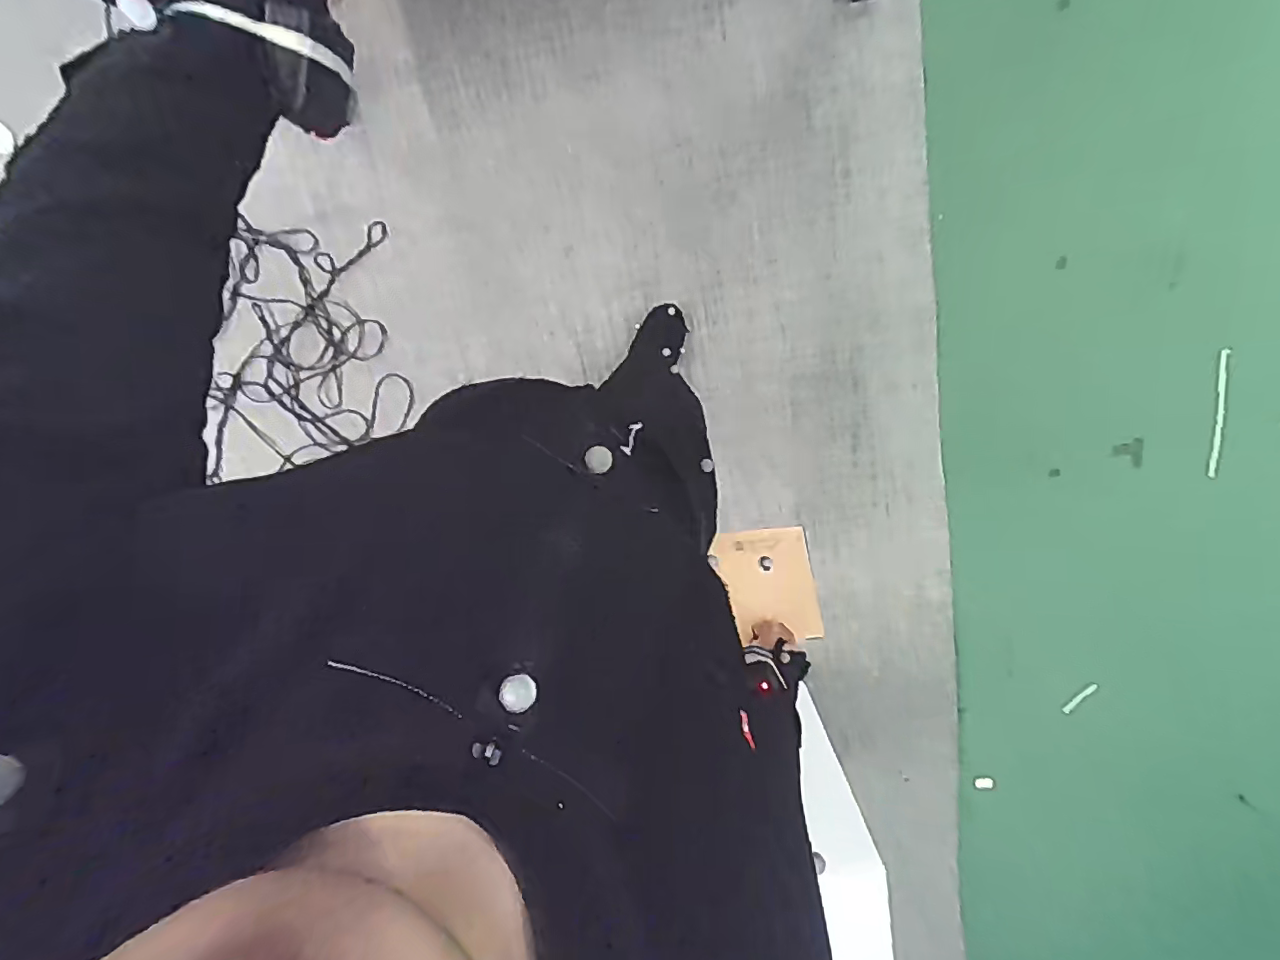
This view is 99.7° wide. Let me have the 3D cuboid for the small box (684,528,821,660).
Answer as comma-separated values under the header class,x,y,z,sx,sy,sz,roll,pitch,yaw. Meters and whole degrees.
class,x,y,z,sx,sy,sz,roll,pitch,yaw
small box,0.166,0.185,0.865,0.168,0.179,0.176,-4,64,-5
